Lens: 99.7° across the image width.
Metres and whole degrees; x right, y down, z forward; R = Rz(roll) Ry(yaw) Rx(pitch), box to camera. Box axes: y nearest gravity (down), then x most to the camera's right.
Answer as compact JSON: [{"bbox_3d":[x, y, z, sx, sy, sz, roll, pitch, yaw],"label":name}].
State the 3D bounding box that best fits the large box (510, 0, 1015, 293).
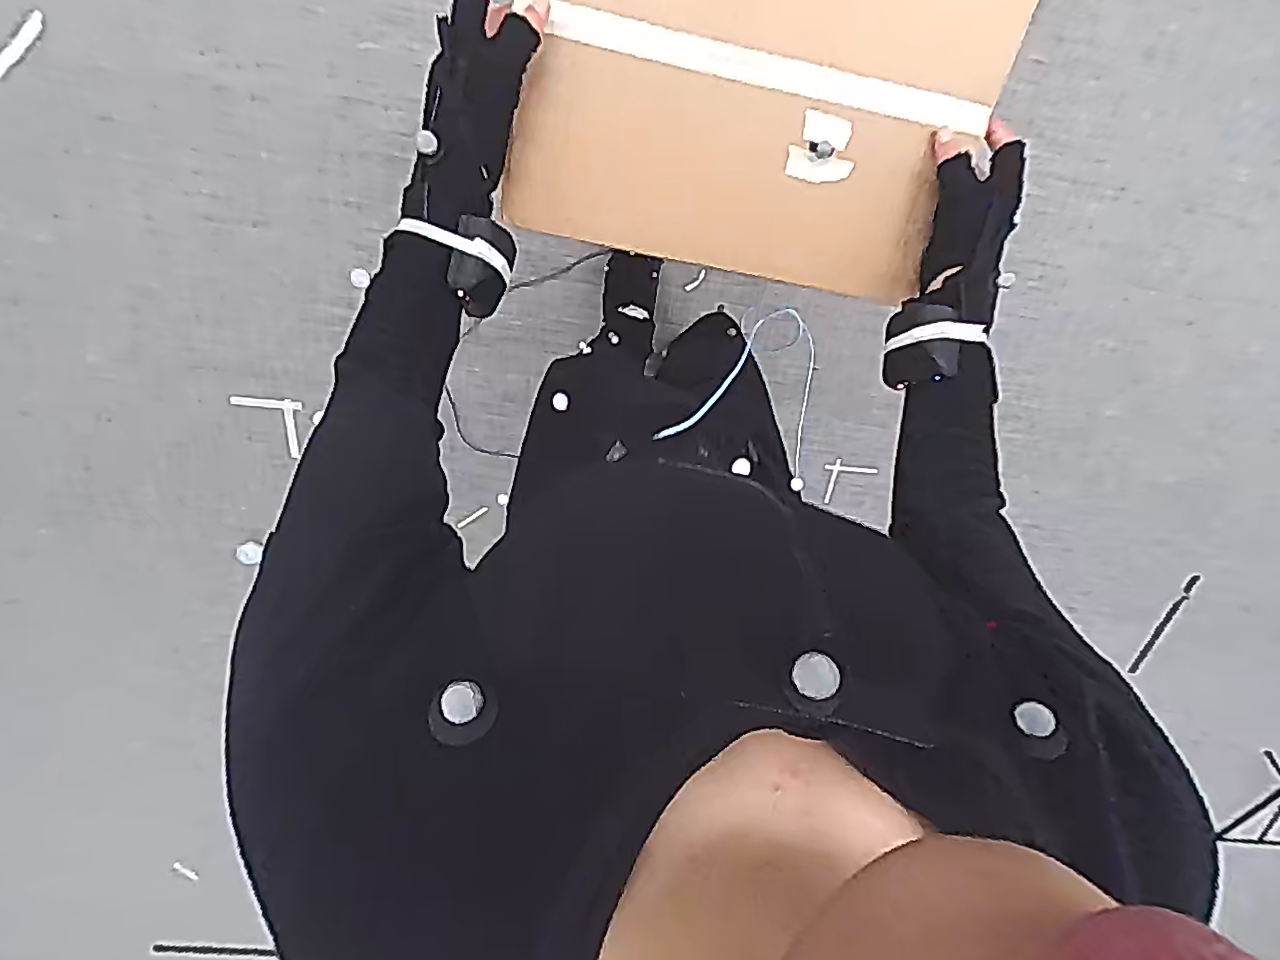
[{"bbox_3d":[0.090,-0.420,0.589,0.408,0.320,0.320,9,119,-7],"label":"large box"}]
